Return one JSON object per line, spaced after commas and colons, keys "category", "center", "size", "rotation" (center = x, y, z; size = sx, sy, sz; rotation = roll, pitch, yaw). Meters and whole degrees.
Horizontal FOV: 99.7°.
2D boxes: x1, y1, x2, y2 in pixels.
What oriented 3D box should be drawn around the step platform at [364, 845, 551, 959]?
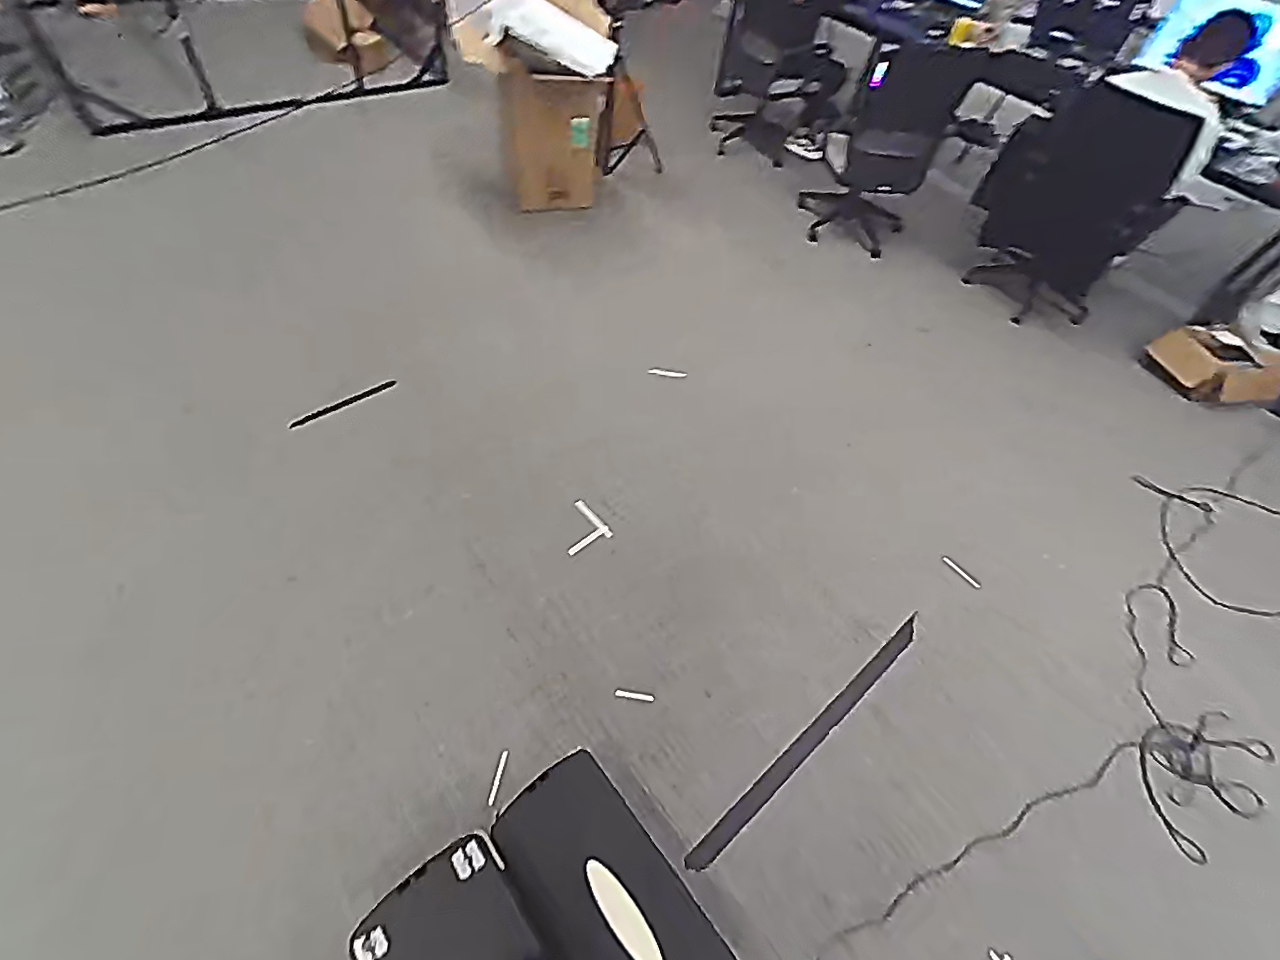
{"category": "step platform", "center": [-0.242, 1.072, 0.986], "size": [0.286, 0.204, 0.684], "rotation": [-27, 59, -26]}
